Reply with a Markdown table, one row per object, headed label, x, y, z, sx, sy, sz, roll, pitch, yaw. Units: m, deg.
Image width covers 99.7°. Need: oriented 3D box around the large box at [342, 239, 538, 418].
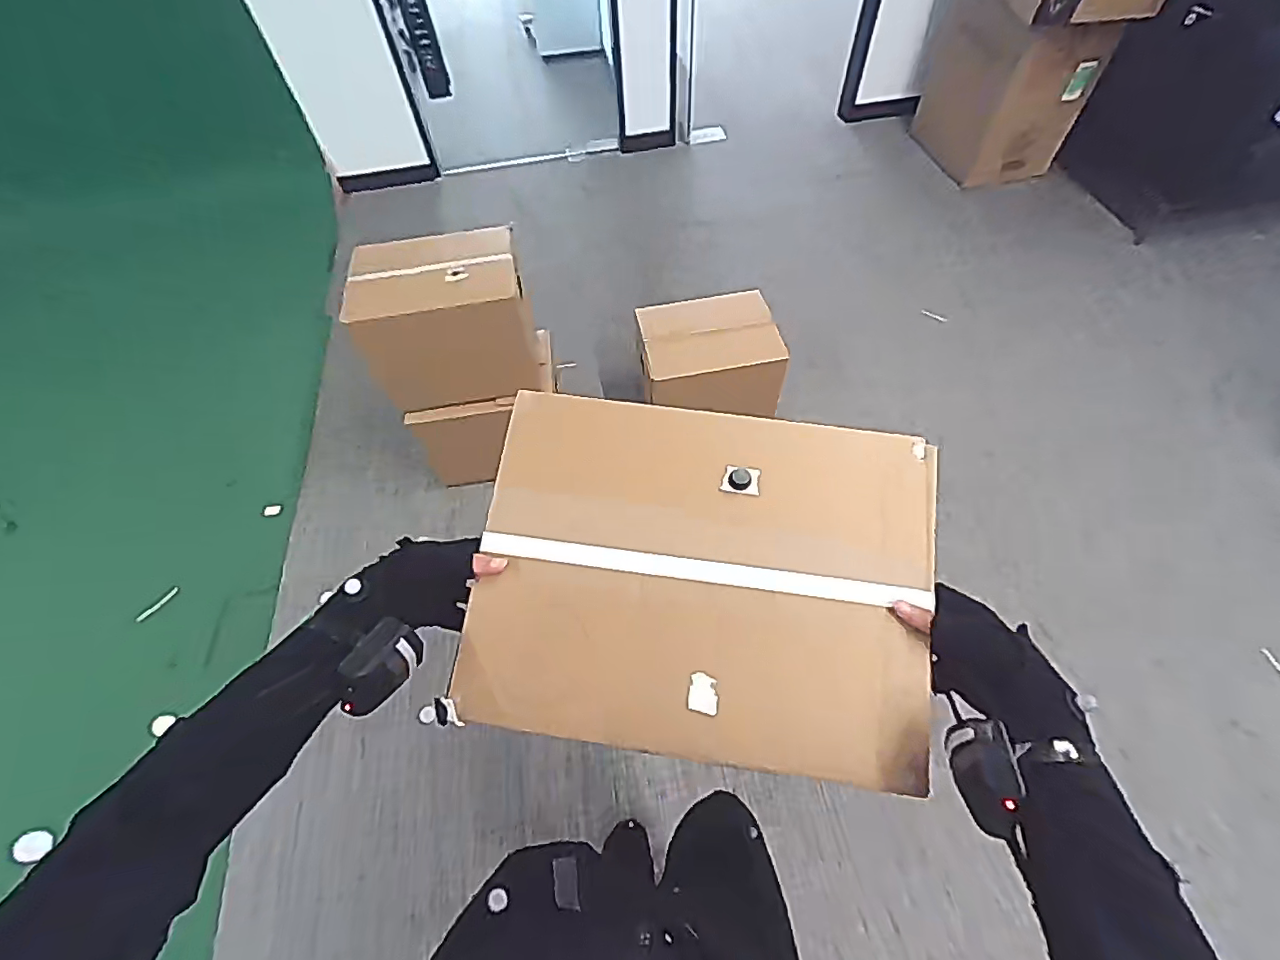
| label | x | y | z | sx | sy | sz | roll | pitch | yaw |
| --- | --- | --- | --- | --- | --- | --- | --- | --- | --- |
| large box | -0.506 | -0.402 | 1.448 | 0.408 | 0.320 | 0.320 | -9 | 54 | -5 |
